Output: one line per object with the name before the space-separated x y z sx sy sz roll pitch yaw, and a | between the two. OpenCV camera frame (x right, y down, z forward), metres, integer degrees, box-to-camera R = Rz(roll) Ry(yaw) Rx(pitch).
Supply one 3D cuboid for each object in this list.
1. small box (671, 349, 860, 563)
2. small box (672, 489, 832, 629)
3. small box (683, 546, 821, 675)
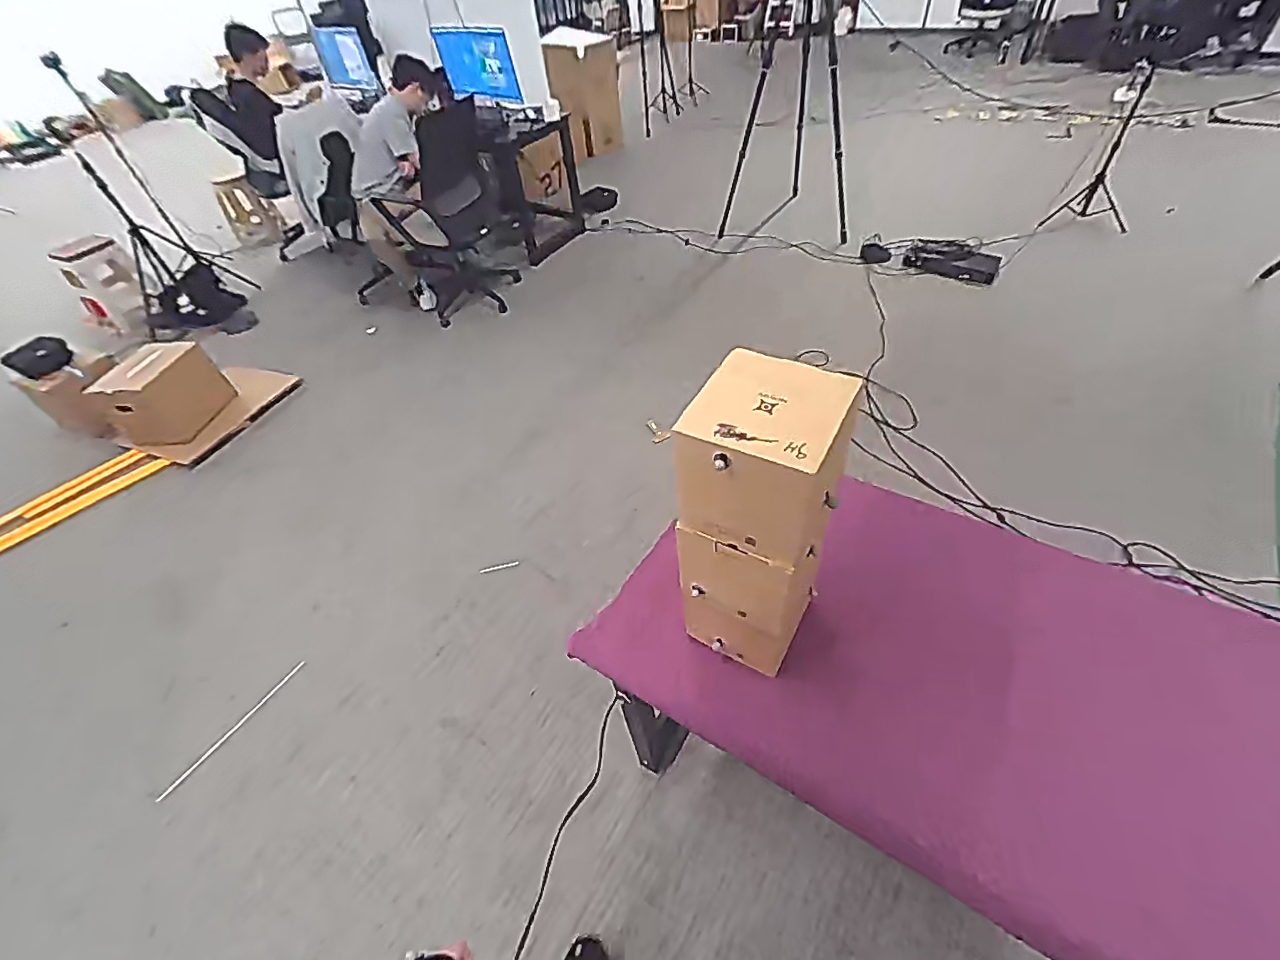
small box | 0.151 -0.032 0.671 0.168 0.176 0.179 20 52 25
small box | 0.164 0.084 0.786 0.168 0.176 0.179 21 52 25
small box | 0.185 0.189 0.910 0.168 0.176 0.179 21 54 25
